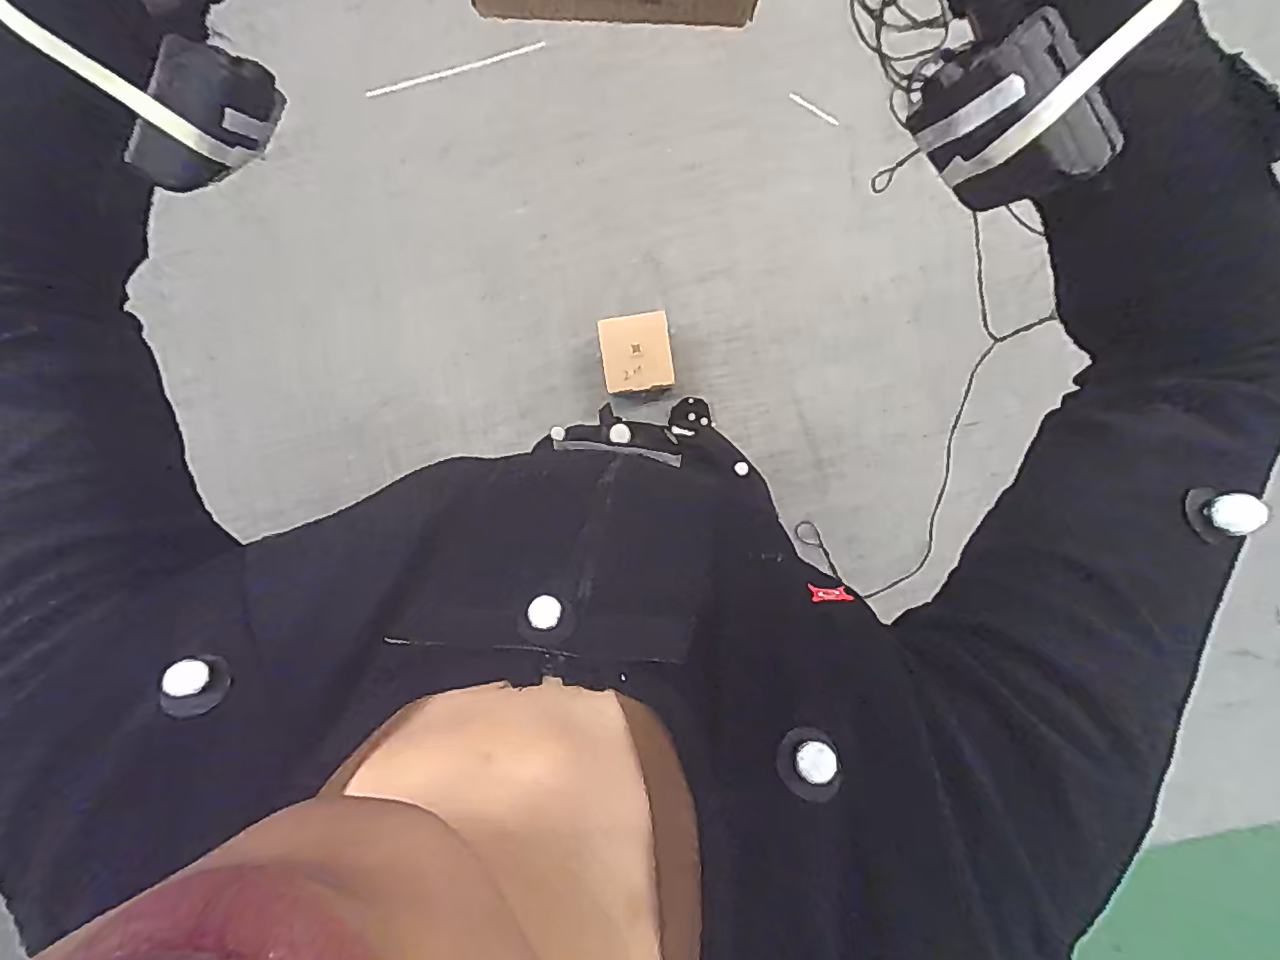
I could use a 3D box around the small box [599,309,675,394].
[{"bbox_3d":[-0.006,-0.317,1.367,0.168,0.176,0.179,-8,96,3],"label":"small box"}]
